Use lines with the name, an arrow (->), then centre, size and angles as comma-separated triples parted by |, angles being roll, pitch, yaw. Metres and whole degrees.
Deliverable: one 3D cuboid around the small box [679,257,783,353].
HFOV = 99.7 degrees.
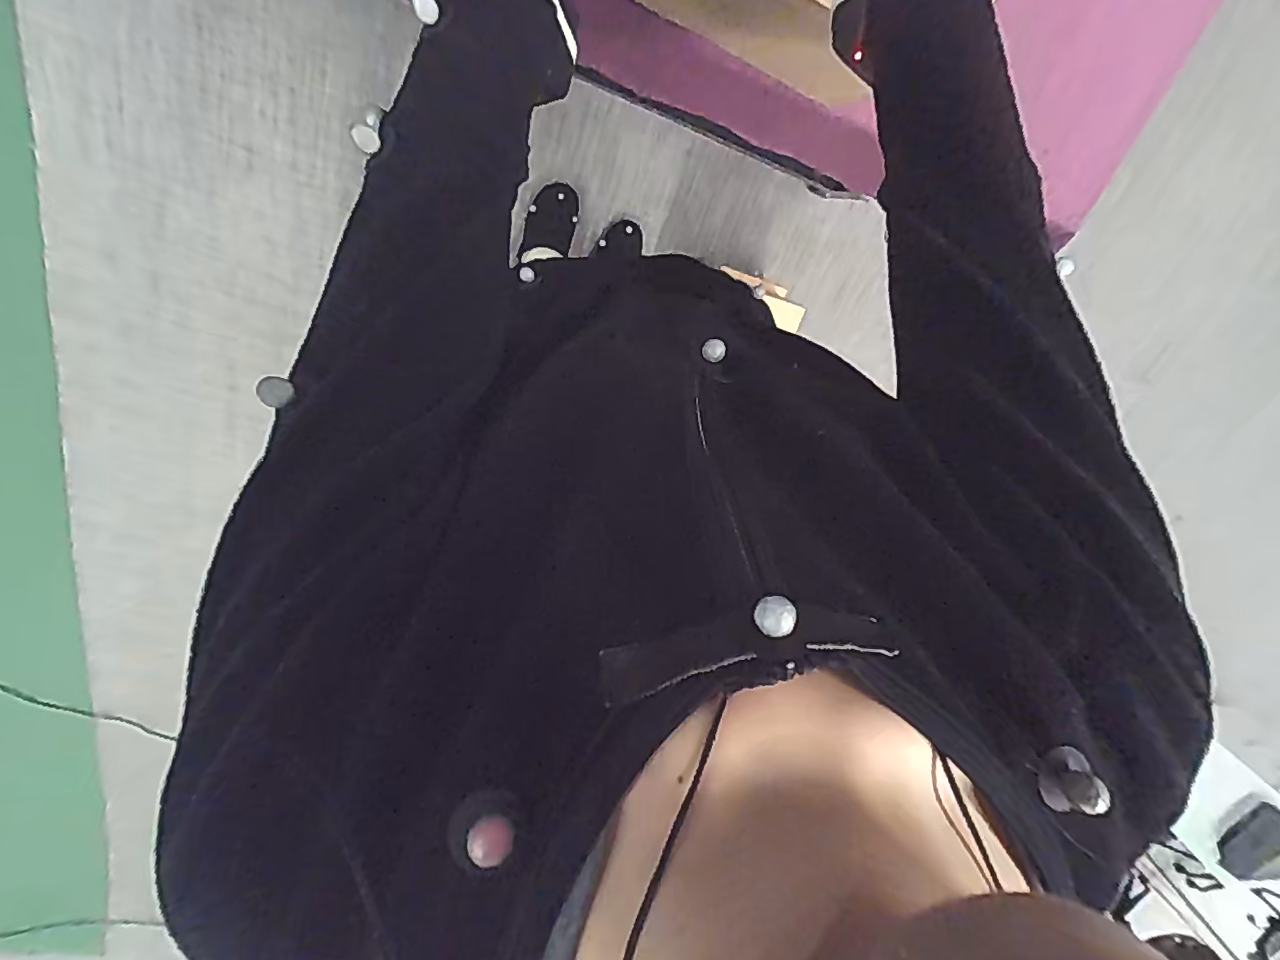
small box -> 0.216, -0.437, 1.336 | 0.179, 0.176, 0.168 | 14, 116, -15
